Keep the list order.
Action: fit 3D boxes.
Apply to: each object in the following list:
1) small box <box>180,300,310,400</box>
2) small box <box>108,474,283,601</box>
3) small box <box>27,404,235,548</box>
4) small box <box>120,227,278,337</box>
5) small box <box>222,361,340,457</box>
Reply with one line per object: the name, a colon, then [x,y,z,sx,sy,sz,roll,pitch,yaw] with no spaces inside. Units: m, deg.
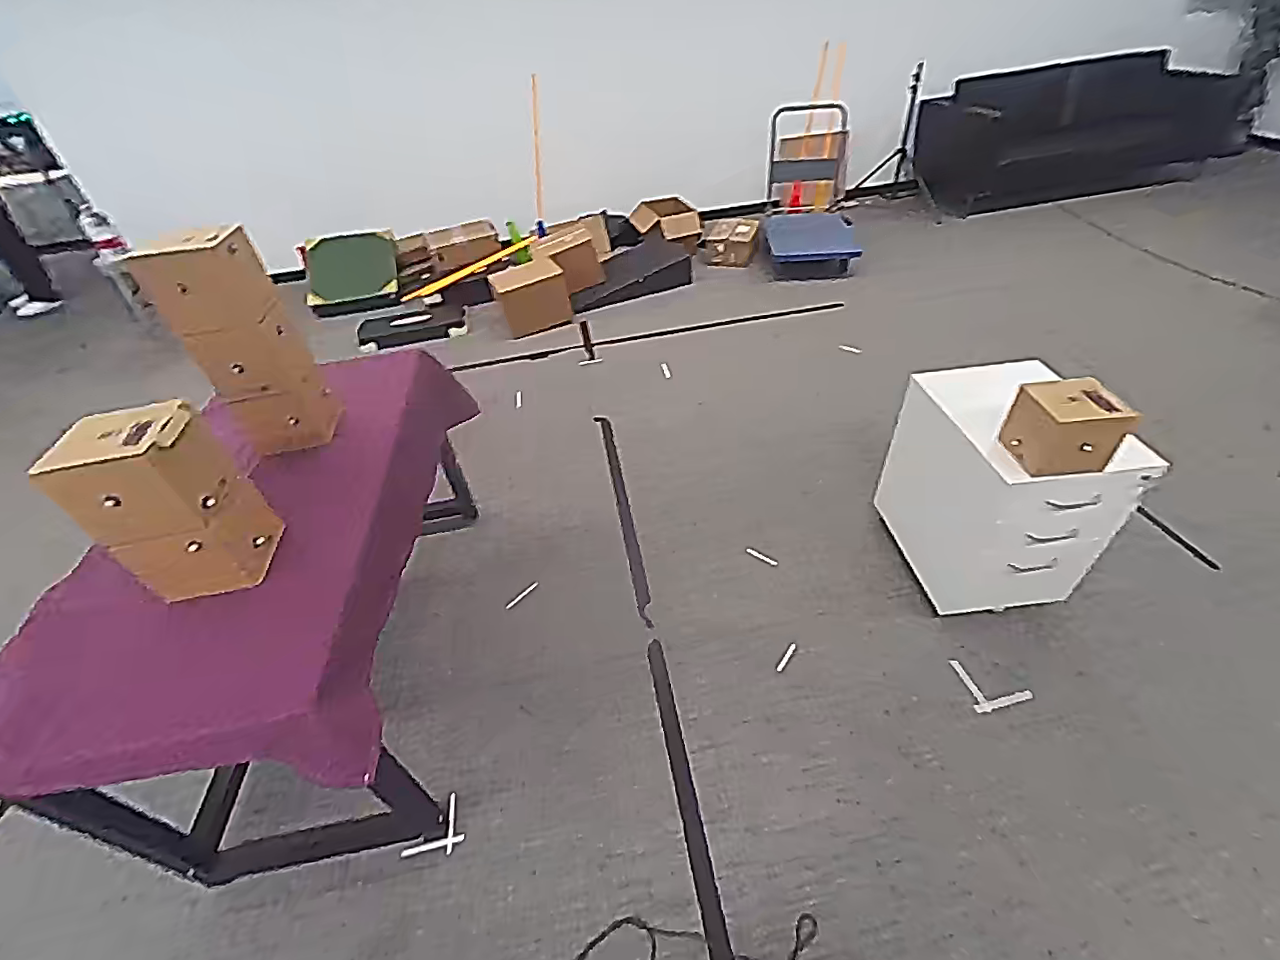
small box: [-0.918,-0.303,1.278,0.168,0.176,0.179,-11,42,-6]
small box: [-0.849,0.115,1.056,0.179,0.176,0.168,-11,42,-6]
small box: [-0.864,-0.006,0.946,0.179,0.176,0.168,-12,42,-6]
small box: [-0.938,-0.426,1.172,0.179,0.176,0.168,-11,42,-5]
small box: [-0.907,-0.181,1.389,0.179,0.176,0.168,-11,42,-4]
